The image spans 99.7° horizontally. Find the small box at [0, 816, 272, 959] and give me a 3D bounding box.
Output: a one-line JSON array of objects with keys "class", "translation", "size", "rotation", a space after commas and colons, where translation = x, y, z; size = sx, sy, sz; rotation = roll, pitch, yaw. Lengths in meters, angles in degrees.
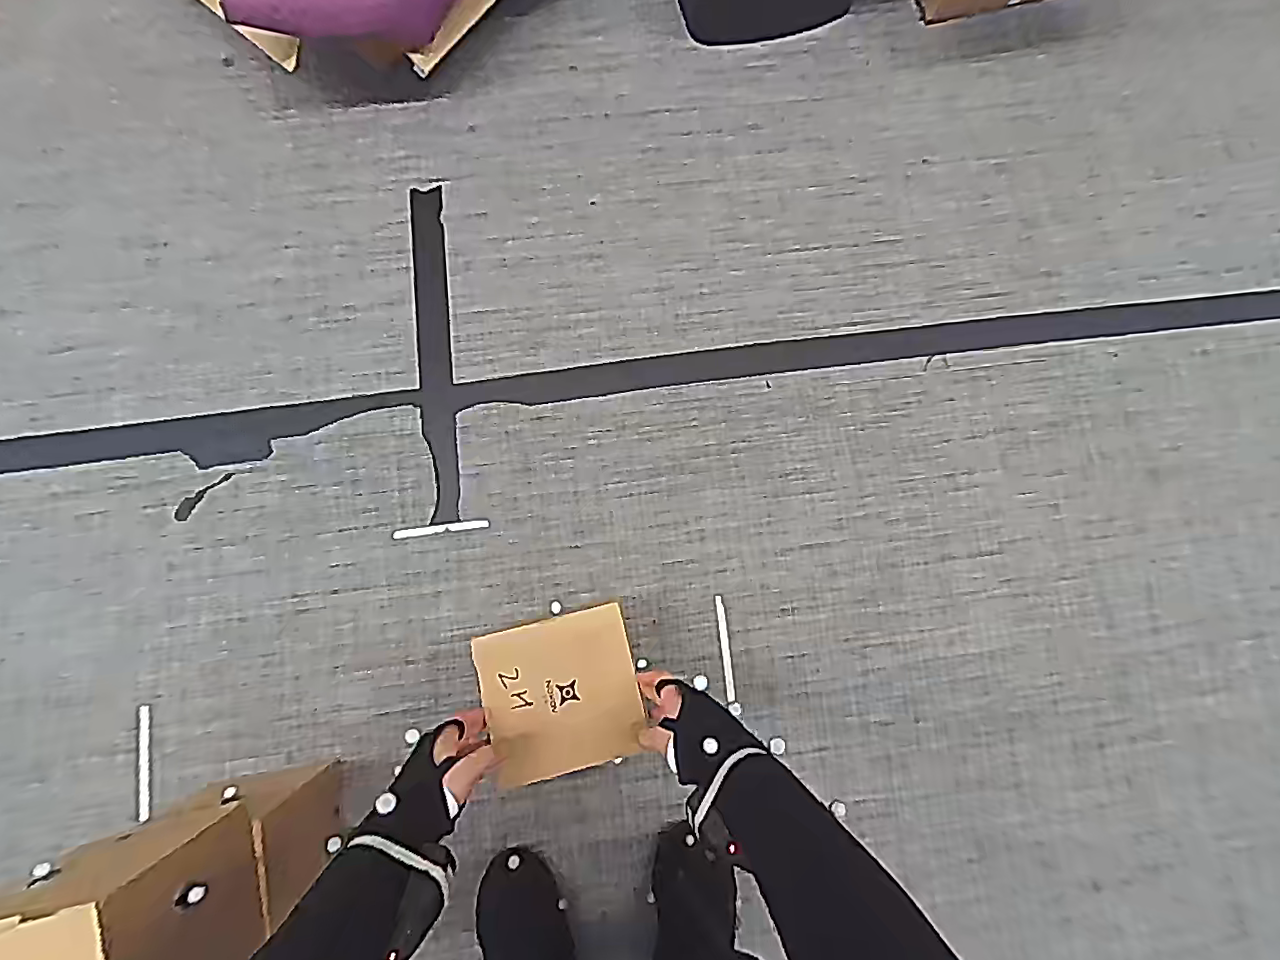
[{"class": "small box", "translation": [-0.470, 0.433, 0.480], "size": [0.168, 0.176, 0.179], "rotation": [-13, 84, -3]}]

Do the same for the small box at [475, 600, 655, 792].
[{"class": "small box", "translation": [-0.089, 0.254, 0.683], "size": [0.179, 0.176, 0.168], "rotation": [-13, 82, -4]}]

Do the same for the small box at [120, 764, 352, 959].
[{"class": "small box", "translation": [-0.474, 0.465, 0.640], "size": [0.179, 0.176, 0.168], "rotation": [-10, 83, -4]}]
